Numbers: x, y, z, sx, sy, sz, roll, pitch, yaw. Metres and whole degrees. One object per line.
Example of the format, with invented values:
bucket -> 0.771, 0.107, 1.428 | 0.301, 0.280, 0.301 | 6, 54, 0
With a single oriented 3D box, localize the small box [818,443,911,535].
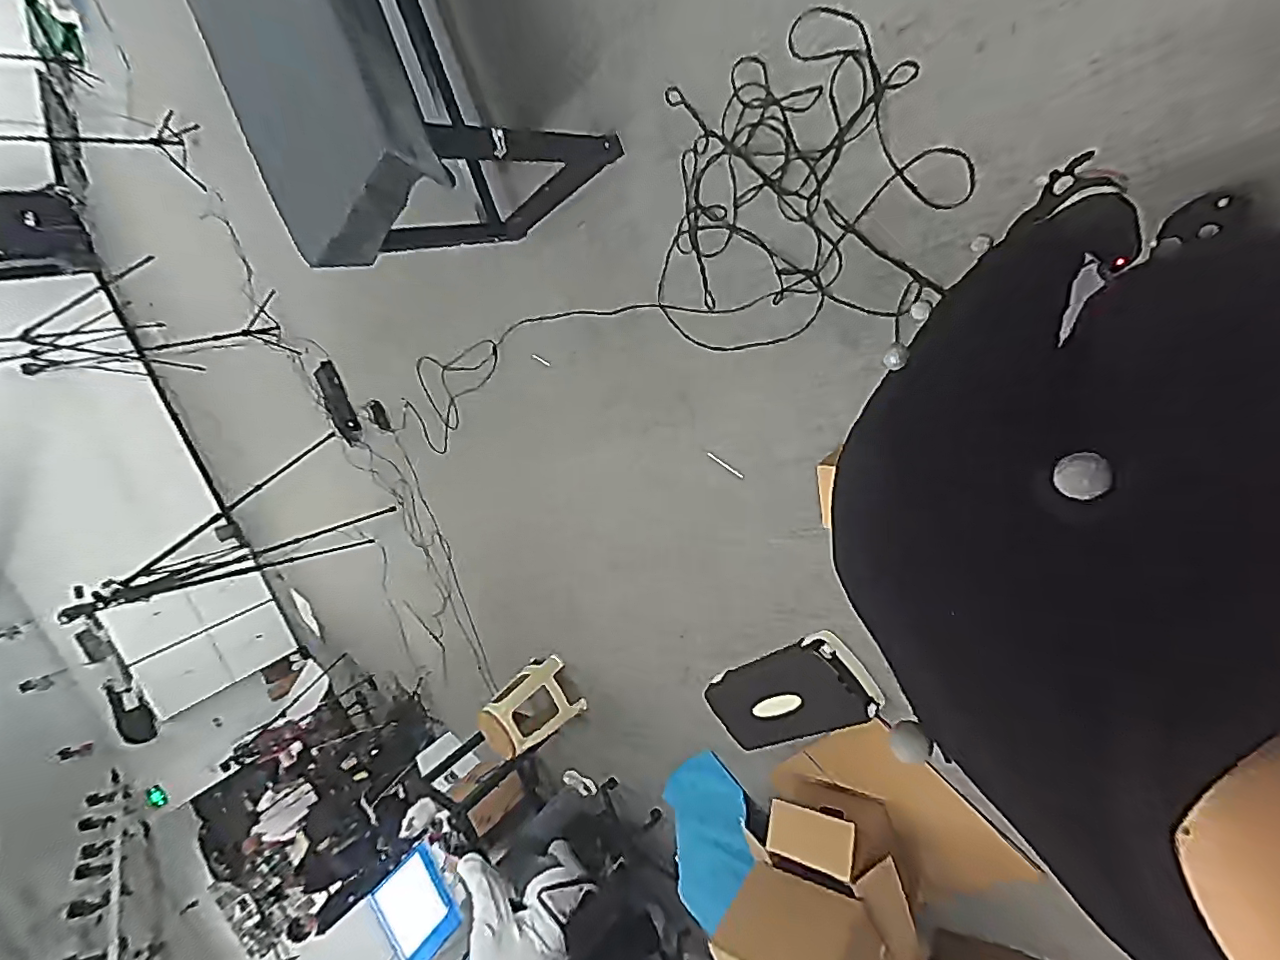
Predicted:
small box -> 0.570, 0.017, 1.362 | 0.168, 0.176, 0.179 | 4, 114, 42
